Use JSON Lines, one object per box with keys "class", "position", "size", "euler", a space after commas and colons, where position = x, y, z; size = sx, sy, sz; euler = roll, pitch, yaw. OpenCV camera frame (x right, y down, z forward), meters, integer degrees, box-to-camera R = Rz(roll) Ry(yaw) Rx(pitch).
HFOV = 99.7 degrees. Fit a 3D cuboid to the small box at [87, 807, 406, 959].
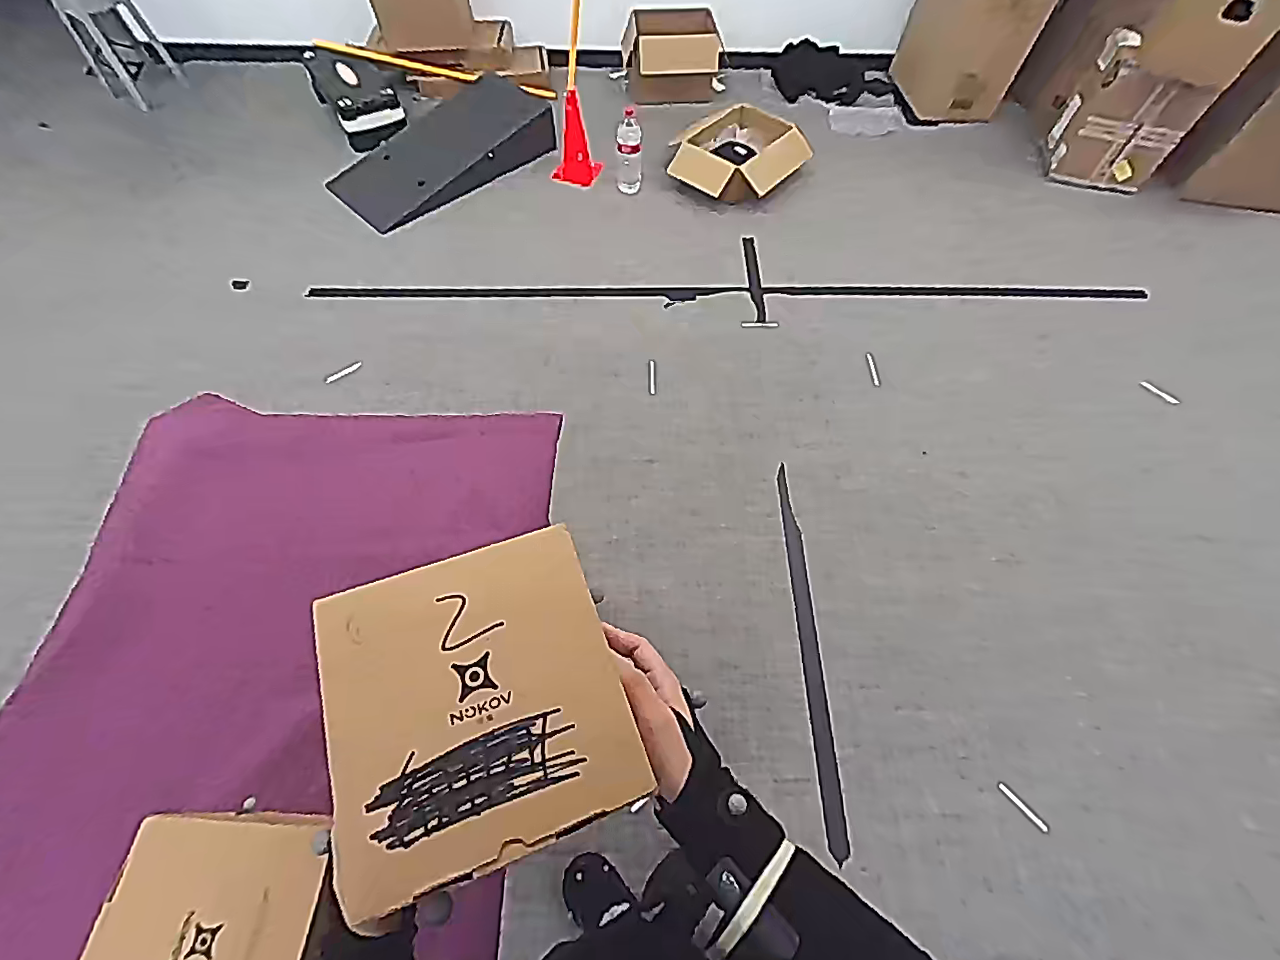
{"class": "small box", "position": [-0.350, 0.405, 0.503], "size": [0.179, 0.176, 0.168], "euler": [2, 60, 0]}
